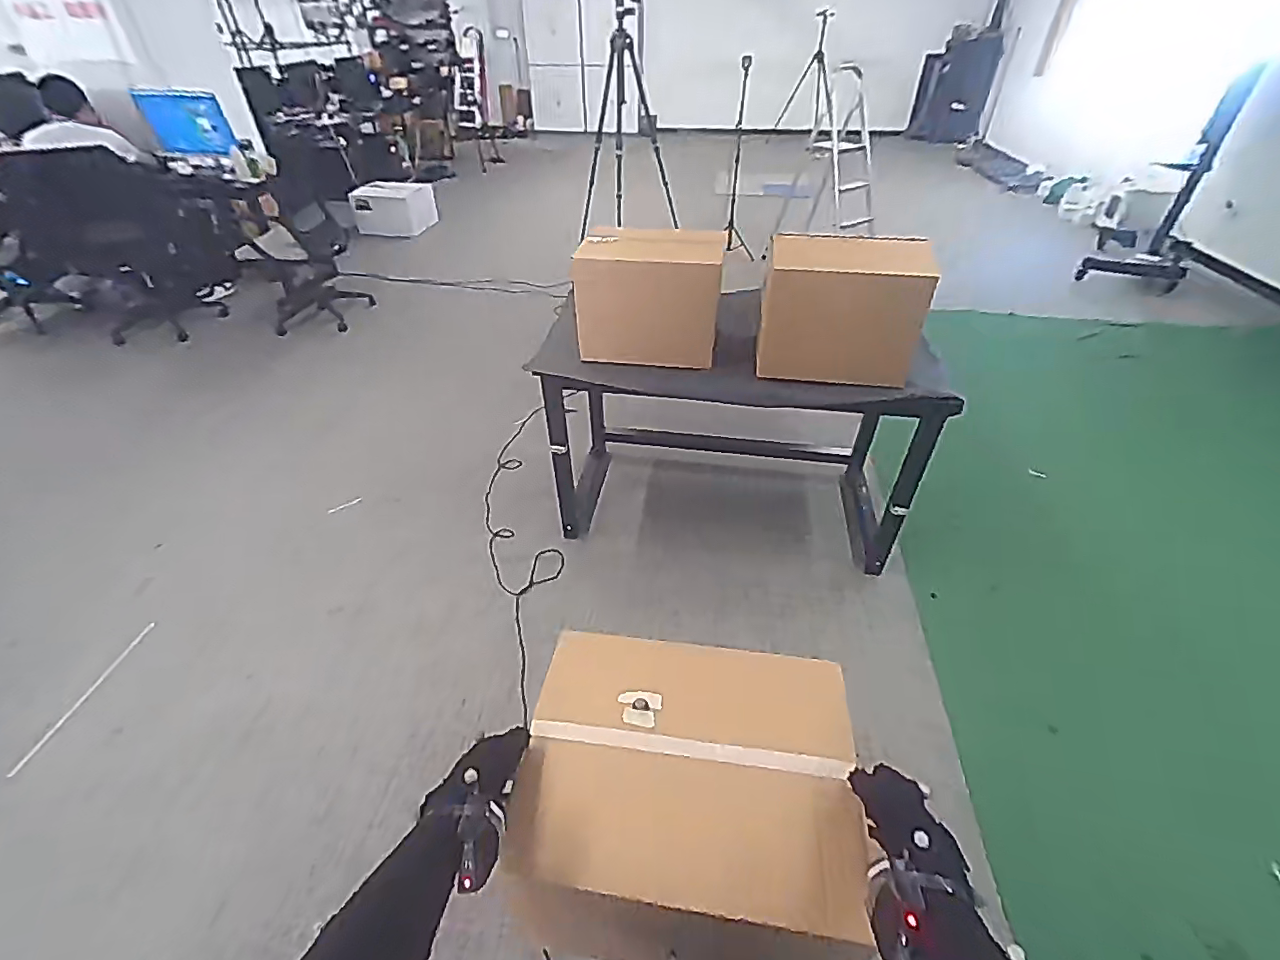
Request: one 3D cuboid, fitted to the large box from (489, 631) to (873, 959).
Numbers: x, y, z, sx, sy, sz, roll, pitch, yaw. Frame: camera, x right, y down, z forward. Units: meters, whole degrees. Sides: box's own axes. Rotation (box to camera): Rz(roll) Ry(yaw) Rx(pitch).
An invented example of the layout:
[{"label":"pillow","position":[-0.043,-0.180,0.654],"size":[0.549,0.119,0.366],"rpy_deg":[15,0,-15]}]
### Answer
[{"label":"large box","position":[0.061,0.447,0.760],"size":[0.408,0.320,0.320],"rpy_deg":[3,37,8]}]
